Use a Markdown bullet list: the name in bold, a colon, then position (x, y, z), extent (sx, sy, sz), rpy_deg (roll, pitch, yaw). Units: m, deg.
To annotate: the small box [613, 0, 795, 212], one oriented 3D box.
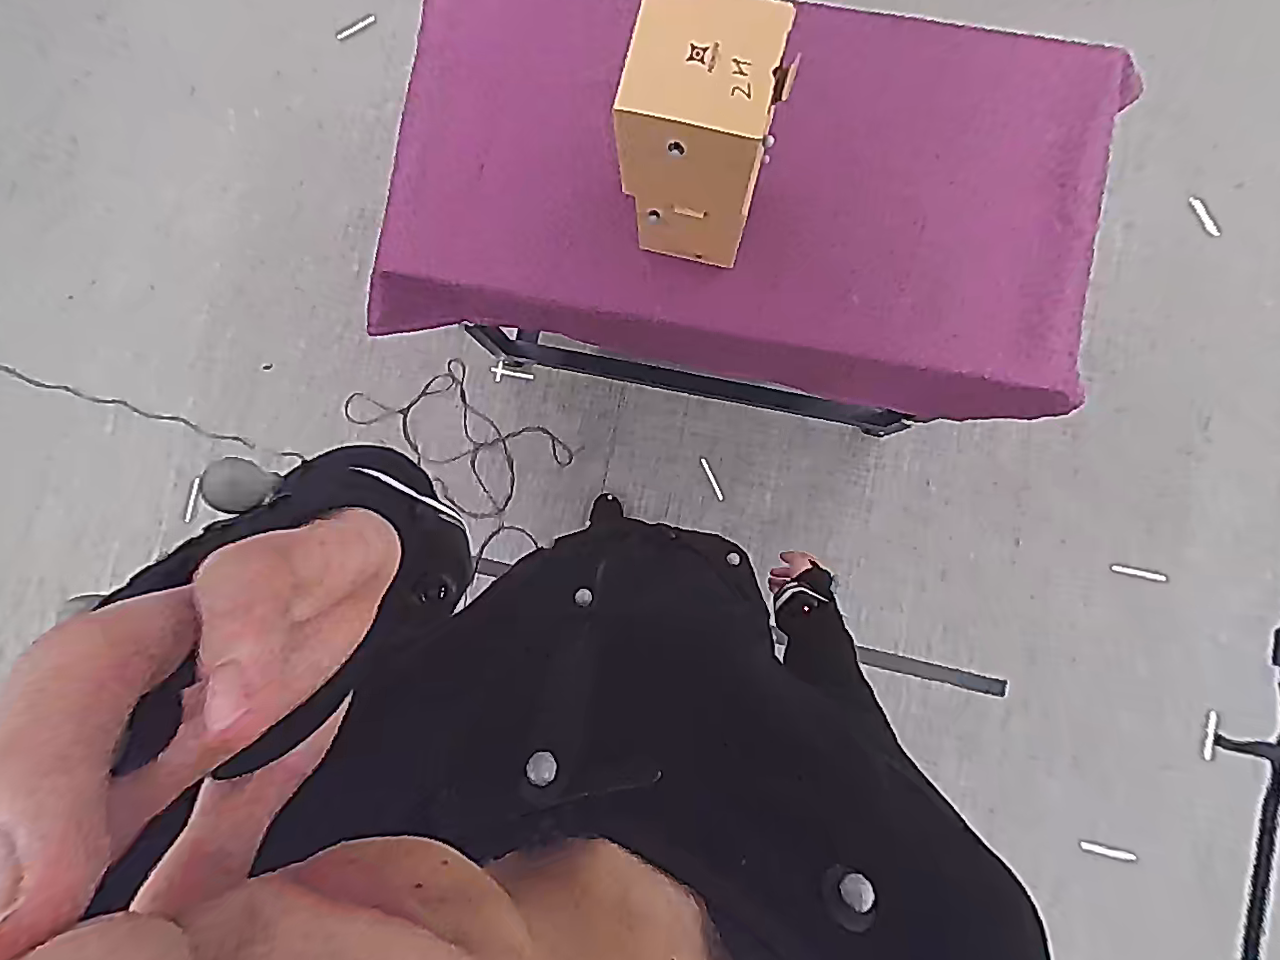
- **small box**: position (0.076, -0.477, 0.694), extent (0.179, 0.176, 0.168), rpy_deg (15, 88, 3)
